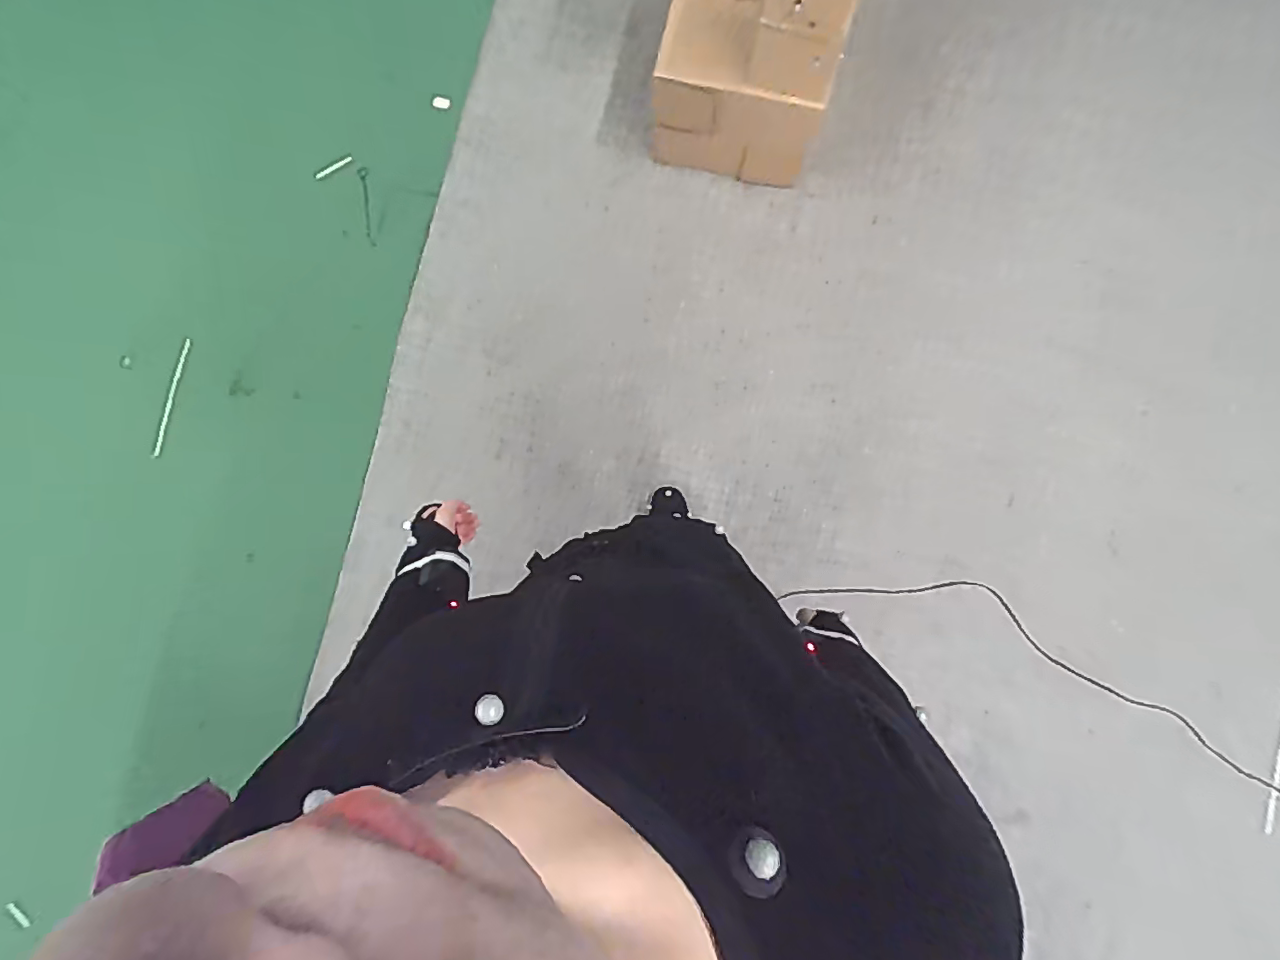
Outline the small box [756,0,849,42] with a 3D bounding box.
[{"bbox_3d":[0.320,-0.957,0.976,0.168,0.176,0.179,18,88,4],"label":"small box"}]
